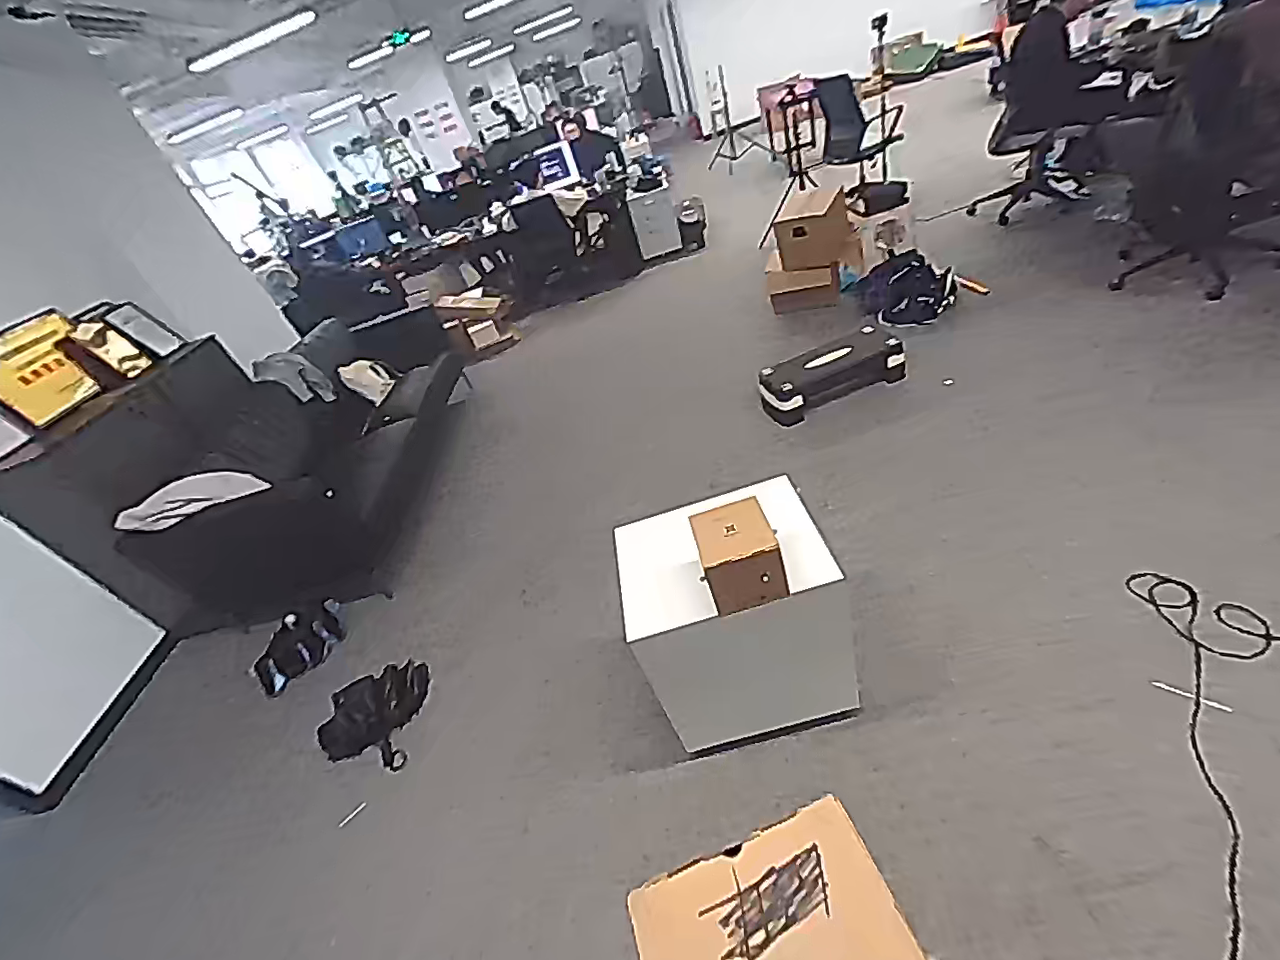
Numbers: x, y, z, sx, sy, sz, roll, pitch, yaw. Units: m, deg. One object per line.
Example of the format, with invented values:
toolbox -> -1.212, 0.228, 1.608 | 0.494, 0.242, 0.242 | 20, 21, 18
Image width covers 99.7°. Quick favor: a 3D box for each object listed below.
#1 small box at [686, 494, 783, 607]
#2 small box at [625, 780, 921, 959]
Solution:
small box -> 0.215, 0.165, 1.228 | 0.168, 0.176, 0.179 | -17, 34, 3
small box -> 0.106, 0.359, 0.383 | 0.168, 0.176, 0.179 | -23, 40, -2
